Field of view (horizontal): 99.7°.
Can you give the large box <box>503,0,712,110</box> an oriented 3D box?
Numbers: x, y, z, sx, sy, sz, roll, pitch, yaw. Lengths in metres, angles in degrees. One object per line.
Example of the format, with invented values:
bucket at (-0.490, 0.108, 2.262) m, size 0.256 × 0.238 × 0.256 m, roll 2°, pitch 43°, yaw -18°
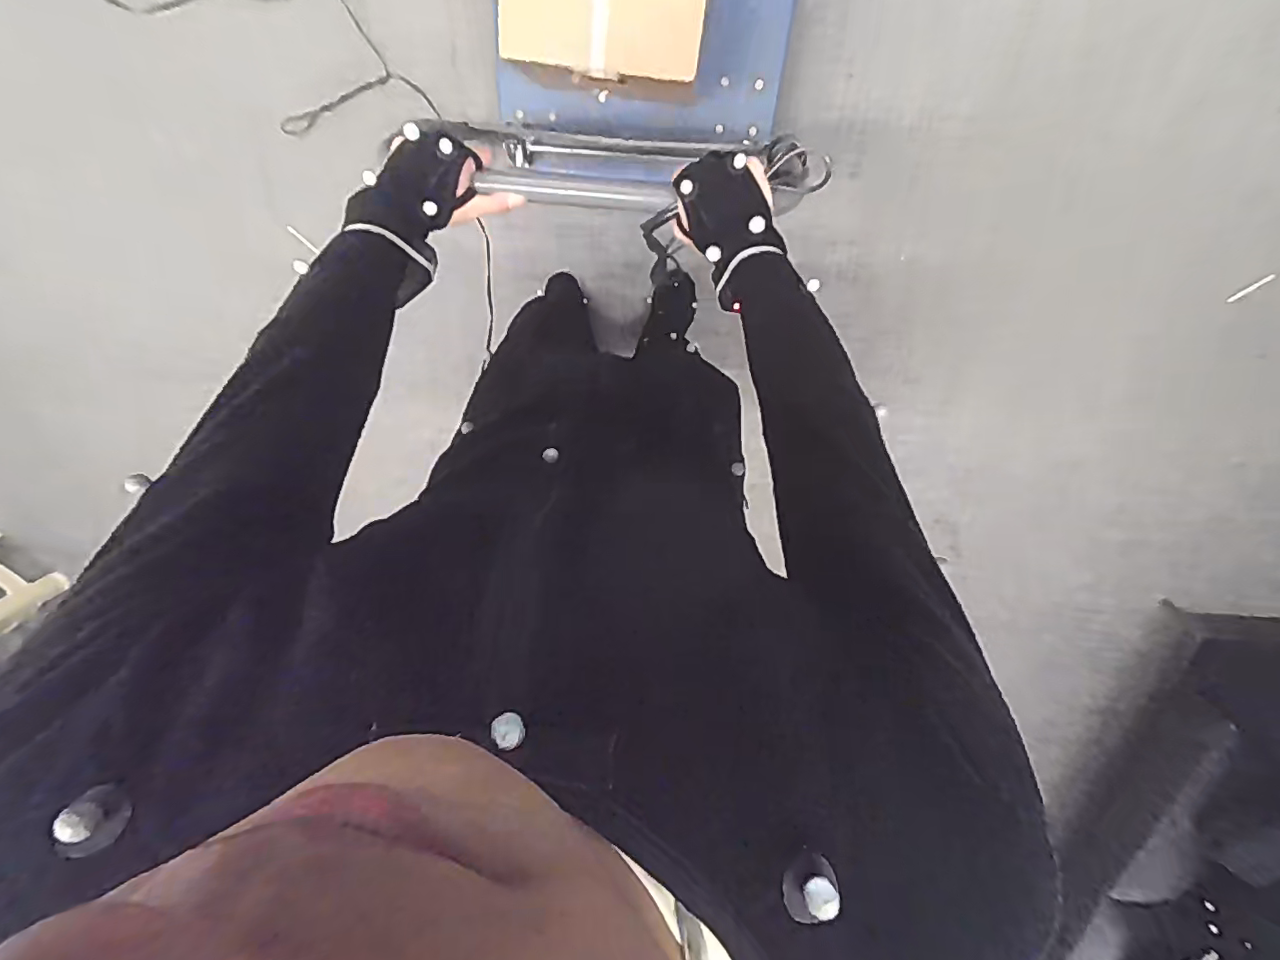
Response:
large box at (-0.028, -0.882, 0.890) m, size 0.320 × 0.320 × 0.408 m, roll 8°, pitch 118°, yaw 1°
